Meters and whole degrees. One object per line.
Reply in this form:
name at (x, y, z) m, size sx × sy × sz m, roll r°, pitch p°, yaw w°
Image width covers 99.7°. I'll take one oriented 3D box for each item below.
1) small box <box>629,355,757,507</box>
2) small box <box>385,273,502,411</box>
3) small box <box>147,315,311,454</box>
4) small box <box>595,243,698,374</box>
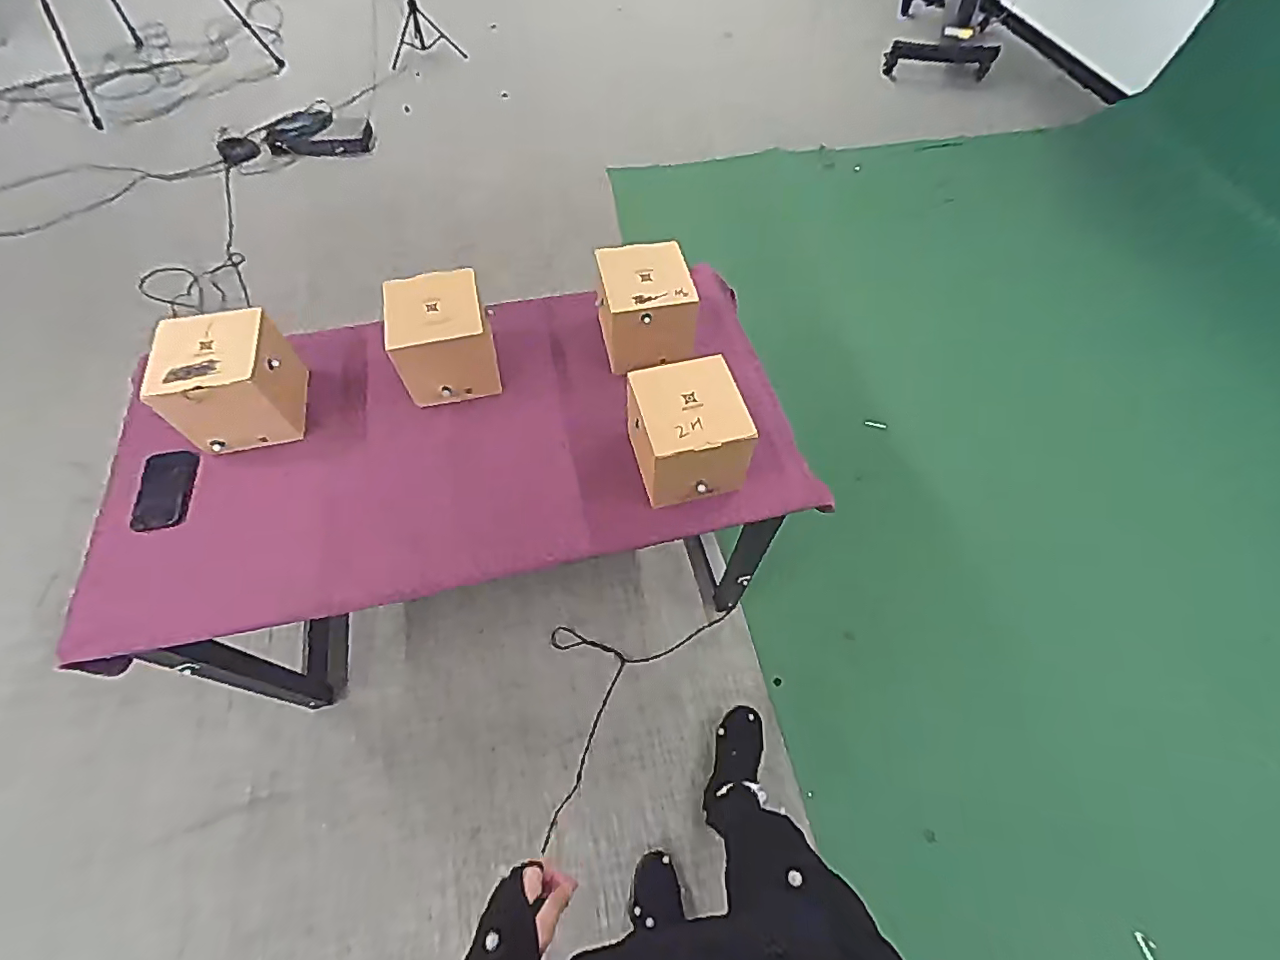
small box at (0.079, -0.080, 0.921) m, size 0.168 × 0.176 × 0.179 m, roll -13°, pitch 61°, yaw -6°
small box at (-0.369, -0.260, 1.030) m, size 0.168 × 0.176 × 0.179 m, roll -13°, pitch 61°, yaw -7°
small box at (-0.717, -0.162, 0.968) m, size 0.168 × 0.176 × 0.179 m, roll -12°, pitch 60°, yaw -8°
small box at (0.009, -0.338, 1.077) m, size 0.168 × 0.176 × 0.179 m, roll -11°, pitch 60°, yaw -6°
